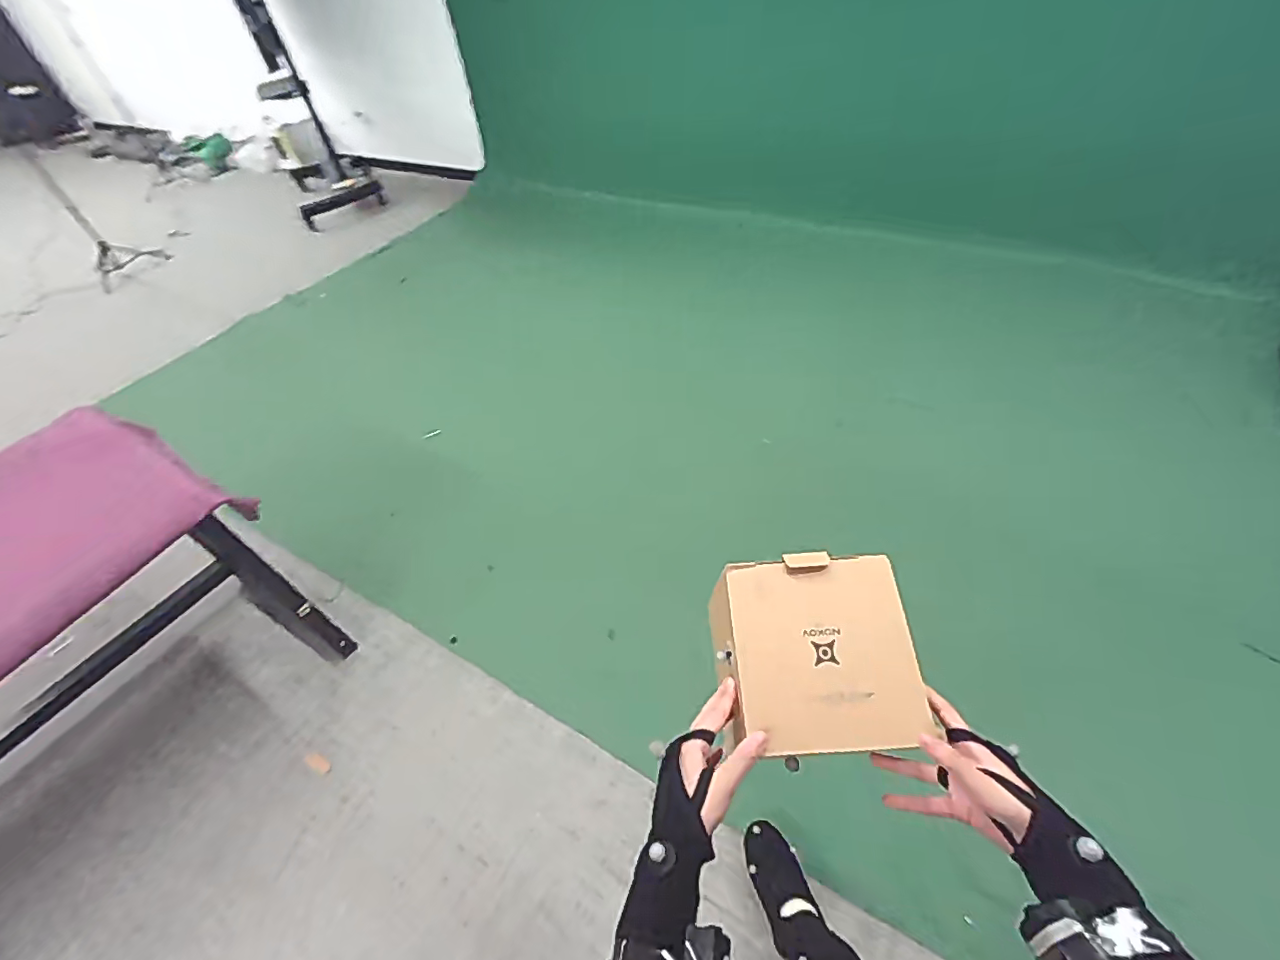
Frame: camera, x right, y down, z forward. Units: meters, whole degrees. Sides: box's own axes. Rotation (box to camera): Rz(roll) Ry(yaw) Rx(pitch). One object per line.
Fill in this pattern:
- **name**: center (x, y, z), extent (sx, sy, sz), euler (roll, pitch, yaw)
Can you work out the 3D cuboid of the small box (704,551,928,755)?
- **small box**: center (0.162, 0.187, 0.568), extent (0.168, 0.176, 0.179), euler (-3, 63, 0)
